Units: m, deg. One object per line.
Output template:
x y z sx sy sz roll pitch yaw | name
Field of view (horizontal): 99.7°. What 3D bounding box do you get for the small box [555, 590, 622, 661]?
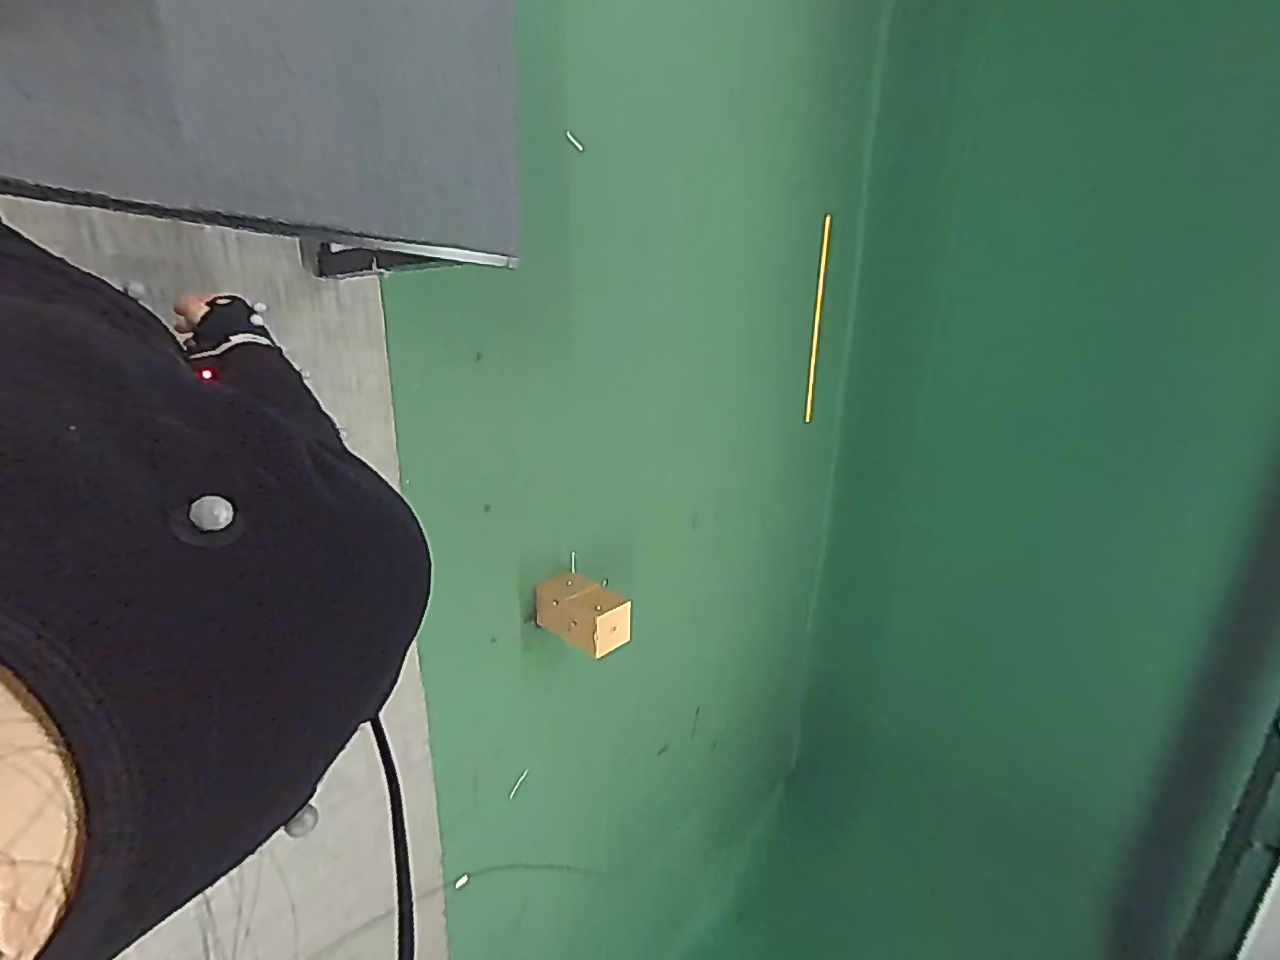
-0.187 0.516 1.956 0.179 0.176 0.168 -15 113 -47 | small box
